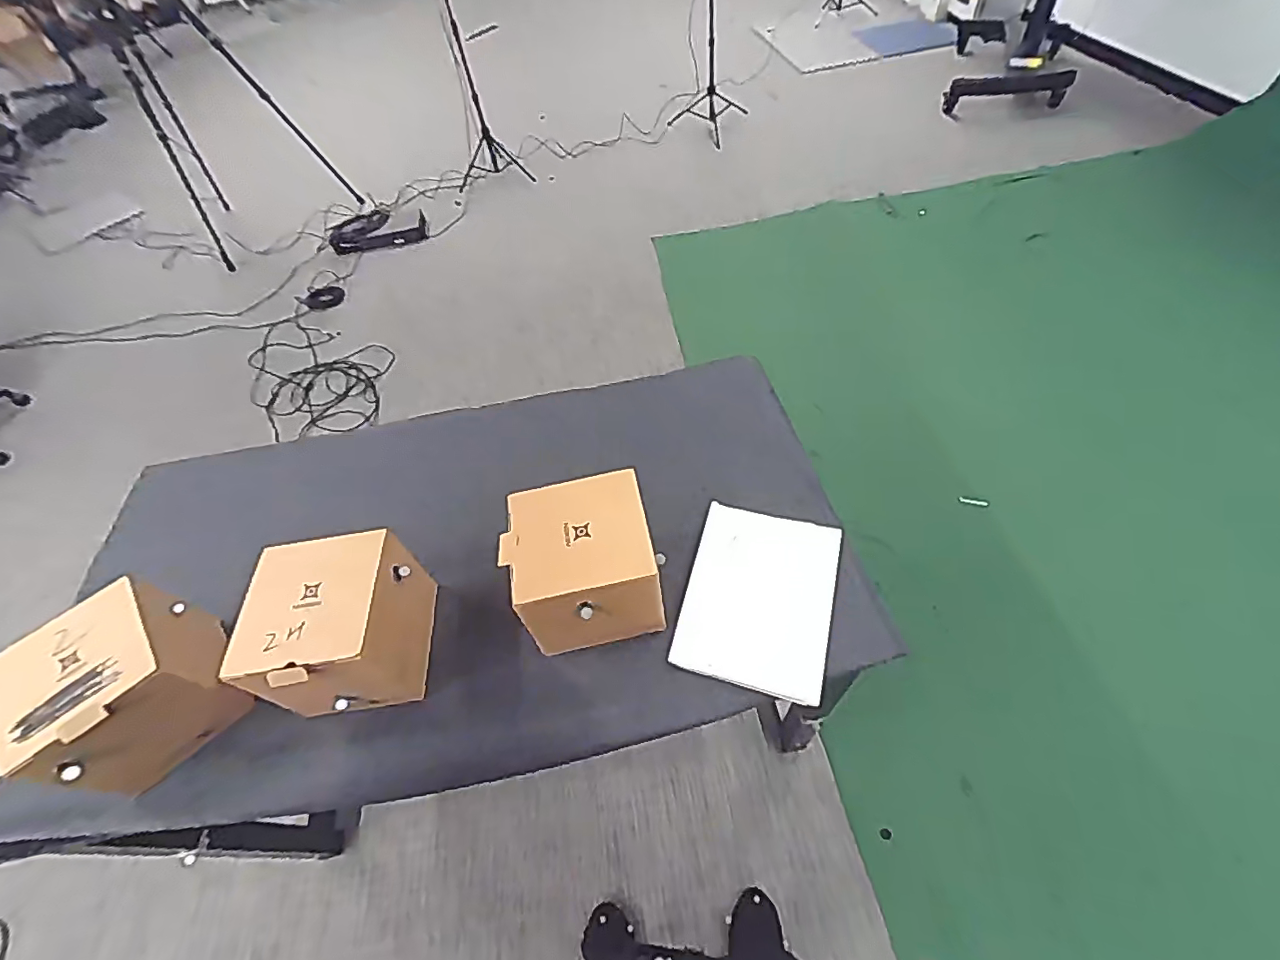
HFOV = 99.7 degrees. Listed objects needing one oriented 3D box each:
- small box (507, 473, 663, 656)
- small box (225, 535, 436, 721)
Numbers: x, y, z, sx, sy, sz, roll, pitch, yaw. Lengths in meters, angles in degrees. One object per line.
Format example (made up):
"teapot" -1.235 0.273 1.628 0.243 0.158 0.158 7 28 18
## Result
"small box" -0.069 0.119 0.737 0.179 0.176 0.168 -13 52 -1
"small box" -0.389 0.200 0.721 0.168 0.176 0.179 -10 52 1
